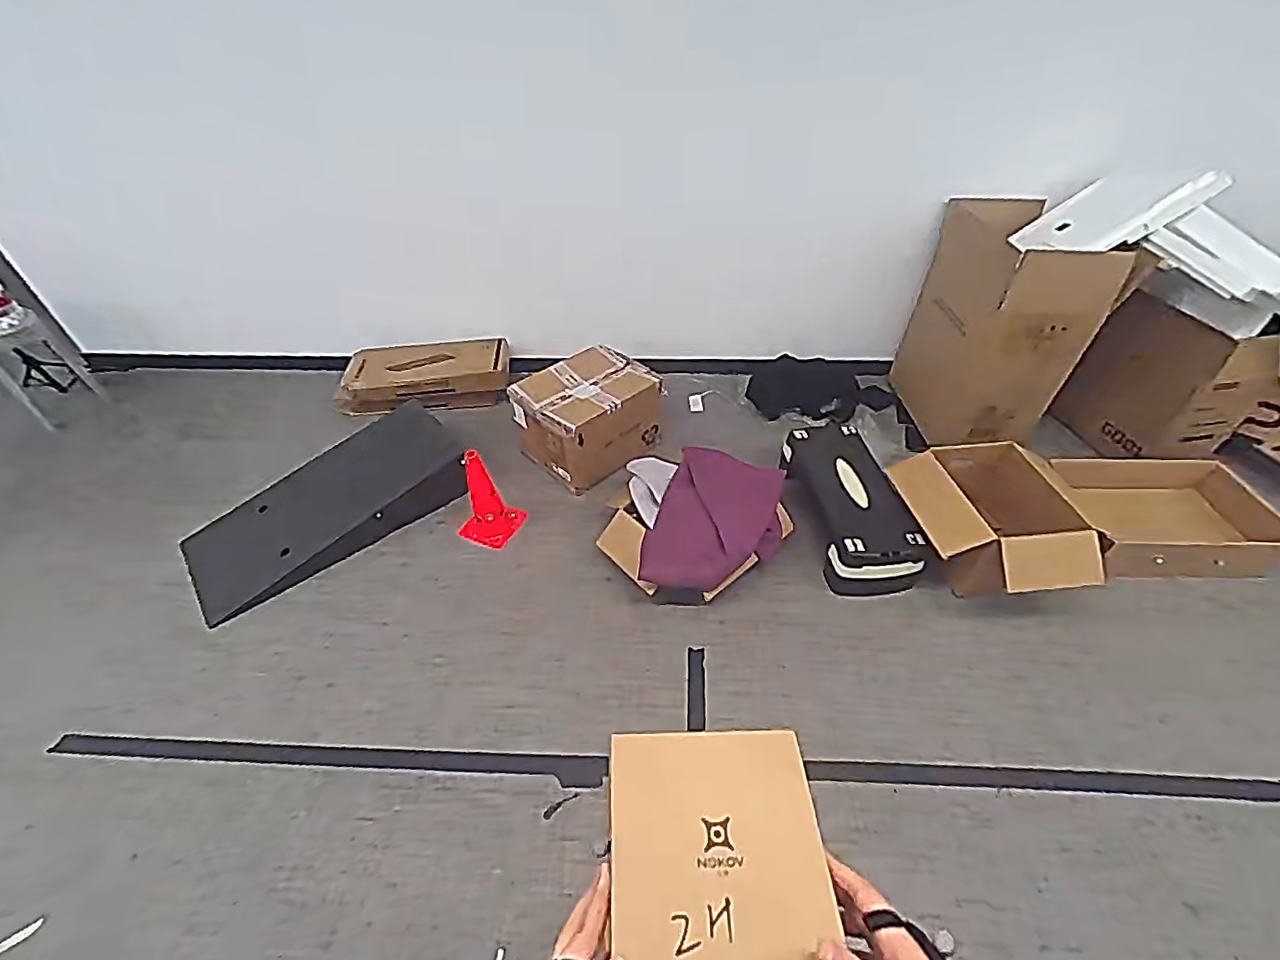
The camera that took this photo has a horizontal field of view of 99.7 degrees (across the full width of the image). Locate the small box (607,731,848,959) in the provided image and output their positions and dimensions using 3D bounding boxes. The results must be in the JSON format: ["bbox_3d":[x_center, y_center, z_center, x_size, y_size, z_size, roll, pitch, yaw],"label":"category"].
[{"bbox_3d":[0.056,0.340,0.466,0.168,0.176,0.179,0,43,-2],"label":"small box"}]
